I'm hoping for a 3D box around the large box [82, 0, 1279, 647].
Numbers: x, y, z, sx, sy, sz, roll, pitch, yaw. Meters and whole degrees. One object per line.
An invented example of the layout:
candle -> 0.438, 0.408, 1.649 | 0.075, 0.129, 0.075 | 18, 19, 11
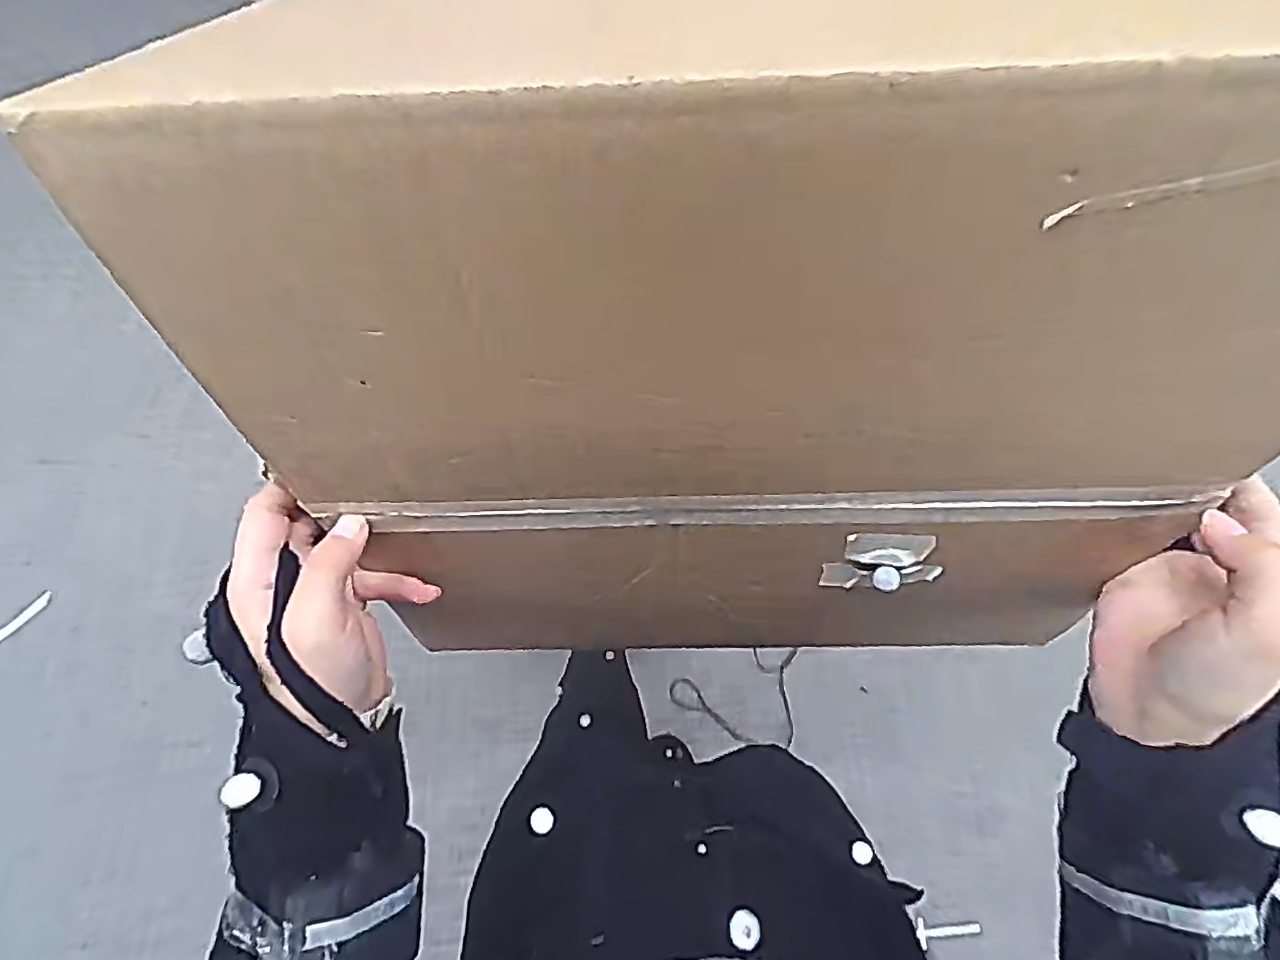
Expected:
large box -> 0.044, -0.106, 0.350 | 0.408, 0.320, 0.320 | -2, 50, 2
